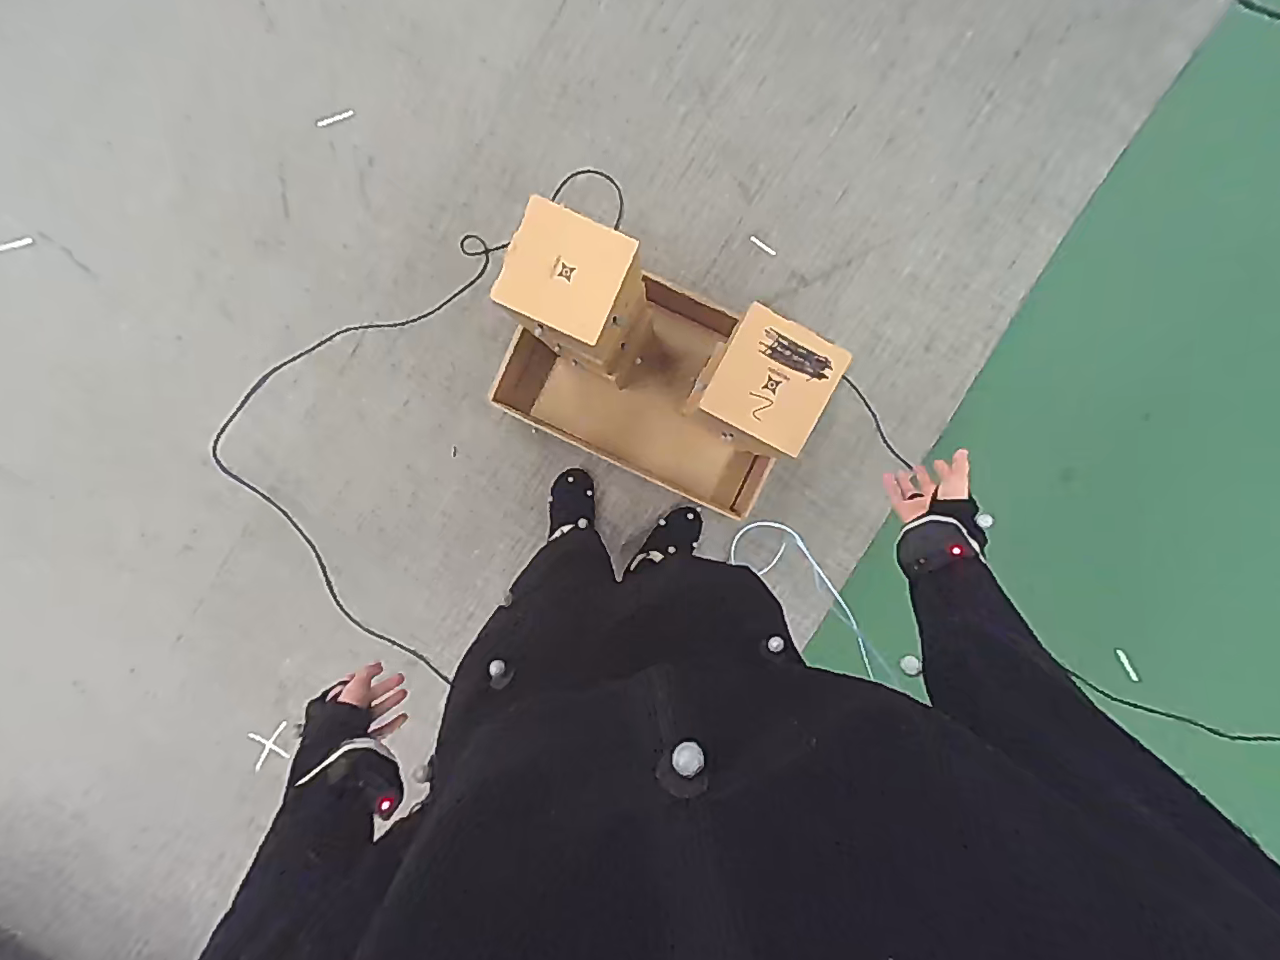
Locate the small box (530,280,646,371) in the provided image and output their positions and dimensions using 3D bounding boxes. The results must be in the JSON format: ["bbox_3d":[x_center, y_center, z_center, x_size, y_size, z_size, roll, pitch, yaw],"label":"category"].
[{"bbox_3d":[-0.103,-0.323,1.029,0.179,0.176,0.168,30,94,-1],"label":"small box"}]

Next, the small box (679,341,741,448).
[{"bbox_3d":[0.198,-0.176,1.192,0.179,0.176,0.168,30,93,0],"label":"small box"}]

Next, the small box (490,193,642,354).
[{"bbox_3d":[-0.106,-0.314,0.867,0.179,0.176,0.168,25,94,1],"label":"small box"}]

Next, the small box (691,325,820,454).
[{"bbox_3d":[0.207,-0.161,1.028,0.168,0.176,0.179,29,92,-1],"label":"small box"}]
